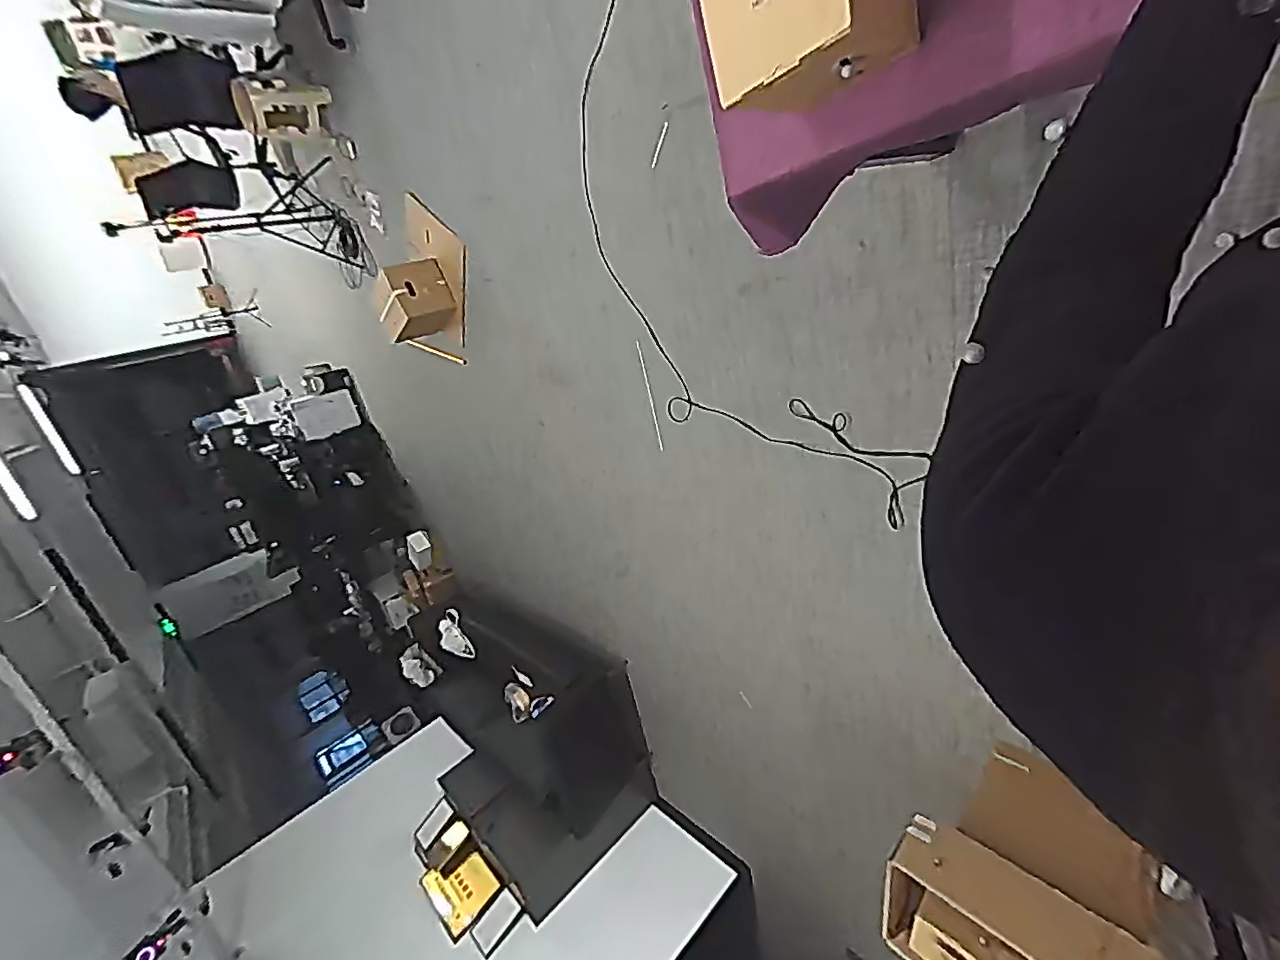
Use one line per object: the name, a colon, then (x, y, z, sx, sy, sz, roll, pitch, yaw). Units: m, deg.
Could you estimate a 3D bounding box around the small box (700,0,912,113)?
small box: (0.187, -0.545, 0.609, 0.168, 0.176, 0.179, 4, 115, 48)
